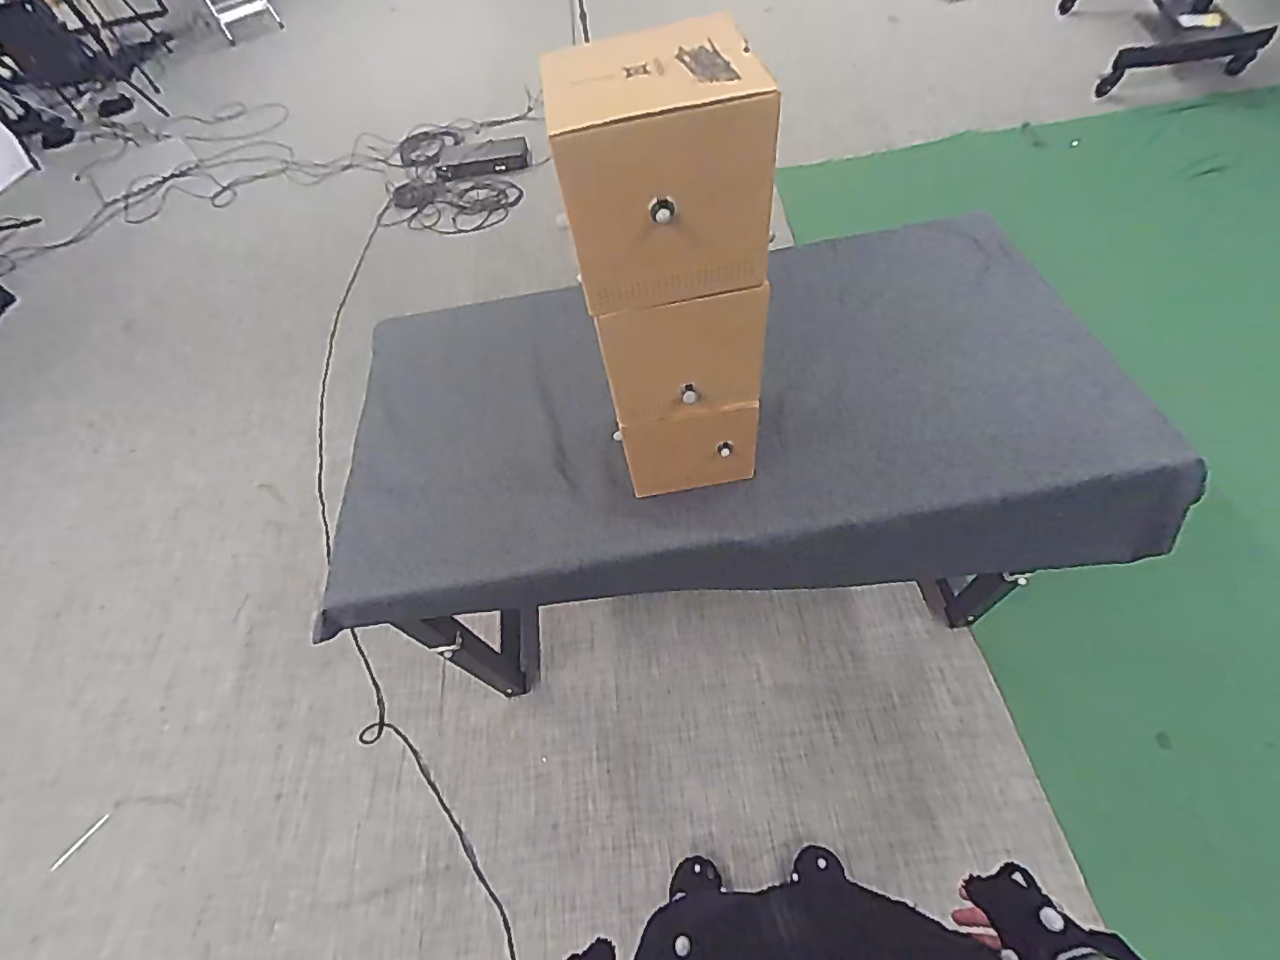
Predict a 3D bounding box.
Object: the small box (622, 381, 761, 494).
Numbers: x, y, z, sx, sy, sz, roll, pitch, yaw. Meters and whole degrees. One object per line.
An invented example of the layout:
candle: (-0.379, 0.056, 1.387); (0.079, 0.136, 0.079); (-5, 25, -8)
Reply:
small box: (0.064, -0.101, 0.775); (0.179, 0.176, 0.168); (-11, 55, 2)

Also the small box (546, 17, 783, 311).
small box: (0.020, -0.287, 0.508); (0.179, 0.176, 0.168); (-11, 56, 2)

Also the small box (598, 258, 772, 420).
small box: (0.043, -0.195, 0.643); (0.179, 0.176, 0.168); (-10, 55, 1)
